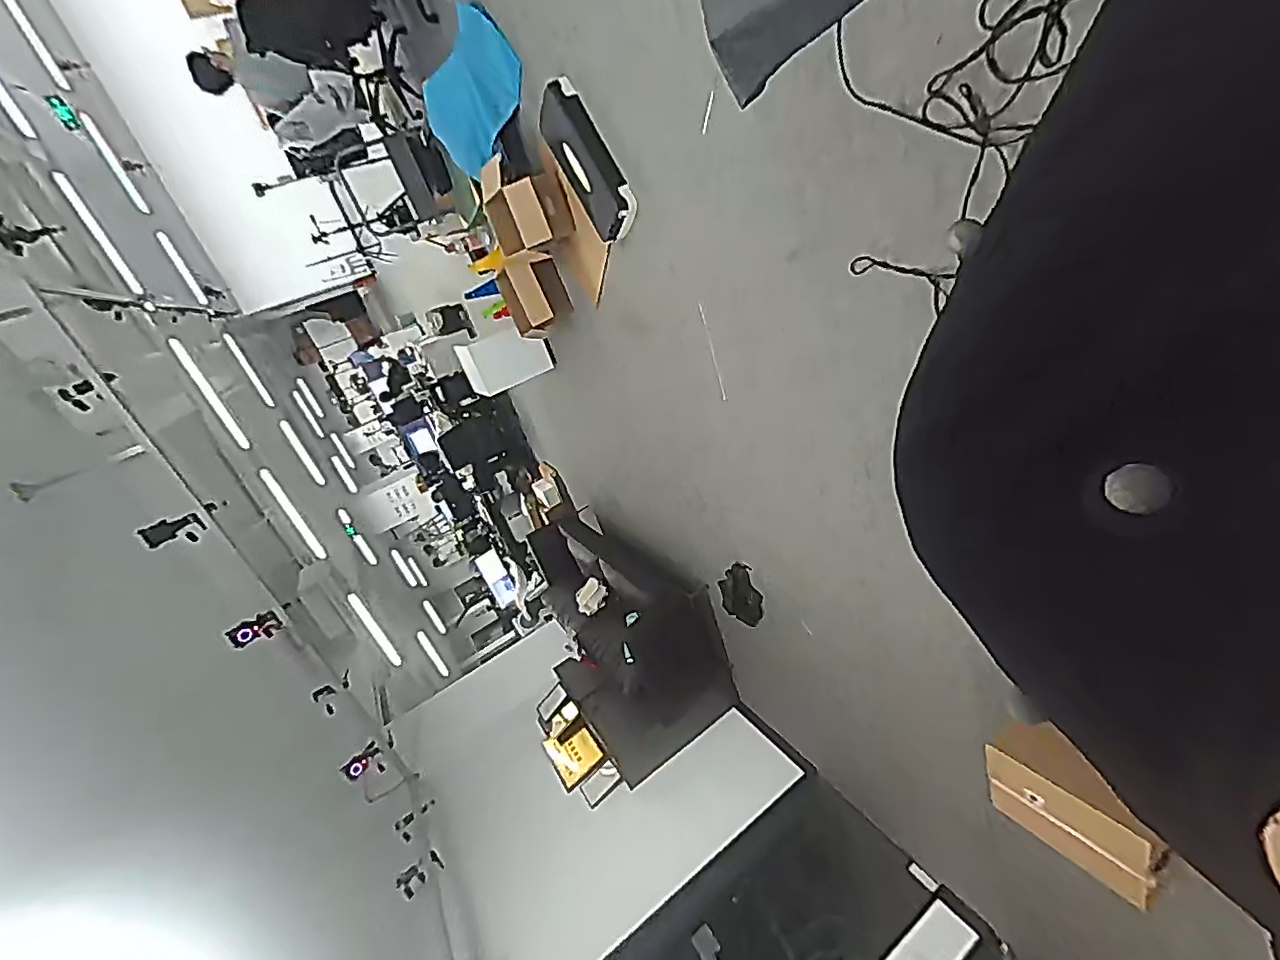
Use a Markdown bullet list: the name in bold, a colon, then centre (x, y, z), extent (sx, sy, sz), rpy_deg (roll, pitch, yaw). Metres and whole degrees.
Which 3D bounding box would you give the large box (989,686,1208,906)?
- **large box**: centre (1.339, 0.902, 1.600), extent (0.408, 0.320, 0.320), rpy_deg (26, 140, 59)
